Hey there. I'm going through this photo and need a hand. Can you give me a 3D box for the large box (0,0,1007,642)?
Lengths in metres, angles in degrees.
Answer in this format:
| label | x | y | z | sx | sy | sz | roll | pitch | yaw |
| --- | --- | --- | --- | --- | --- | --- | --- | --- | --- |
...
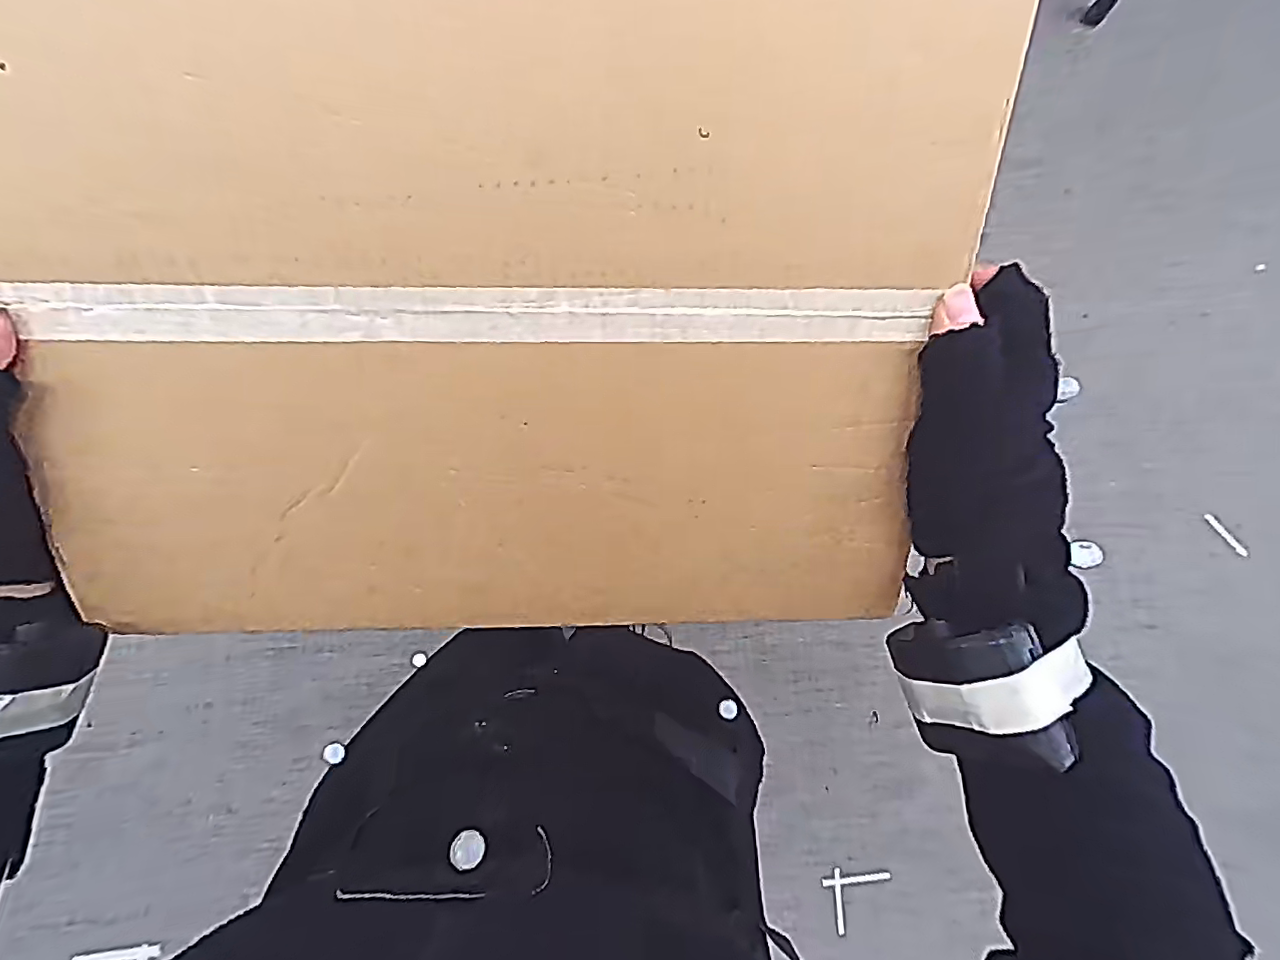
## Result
| label | x | y | z | sx | sy | sz | roll | pitch | yaw |
| --- | --- | --- | --- | --- | --- | --- | --- | --- | --- |
| large box | -0.073 | -0.118 | 0.368 | 0.408 | 0.320 | 0.320 | 0 | 113 | -3 |
